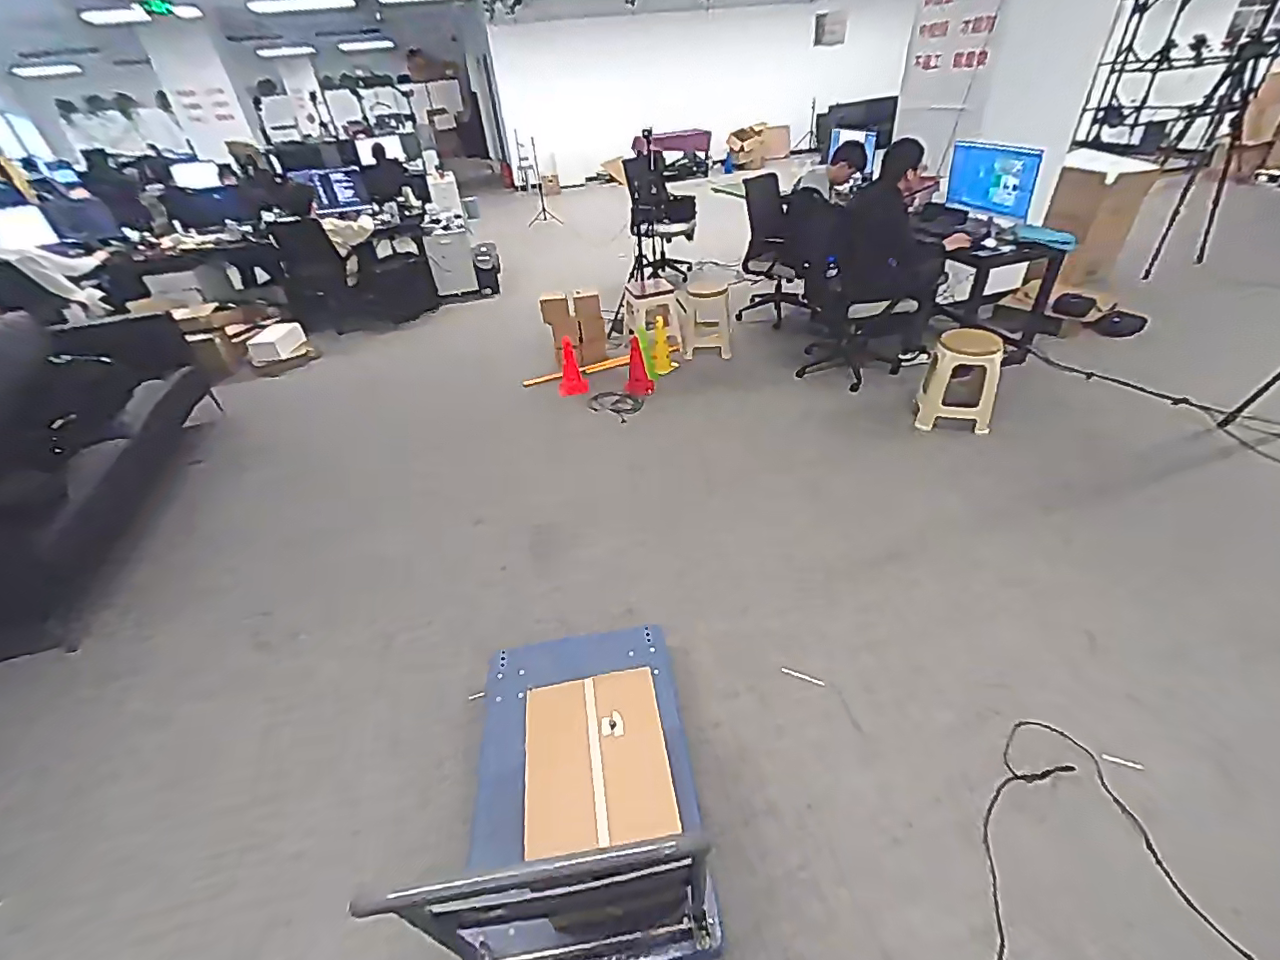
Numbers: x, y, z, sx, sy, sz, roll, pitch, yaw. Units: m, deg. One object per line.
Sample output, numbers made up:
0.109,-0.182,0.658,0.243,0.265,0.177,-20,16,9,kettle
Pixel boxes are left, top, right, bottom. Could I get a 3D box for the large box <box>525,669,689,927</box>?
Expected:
-0.082,0.729,1.270,0.320,0.320,0.408,-8,37,-5,large box
